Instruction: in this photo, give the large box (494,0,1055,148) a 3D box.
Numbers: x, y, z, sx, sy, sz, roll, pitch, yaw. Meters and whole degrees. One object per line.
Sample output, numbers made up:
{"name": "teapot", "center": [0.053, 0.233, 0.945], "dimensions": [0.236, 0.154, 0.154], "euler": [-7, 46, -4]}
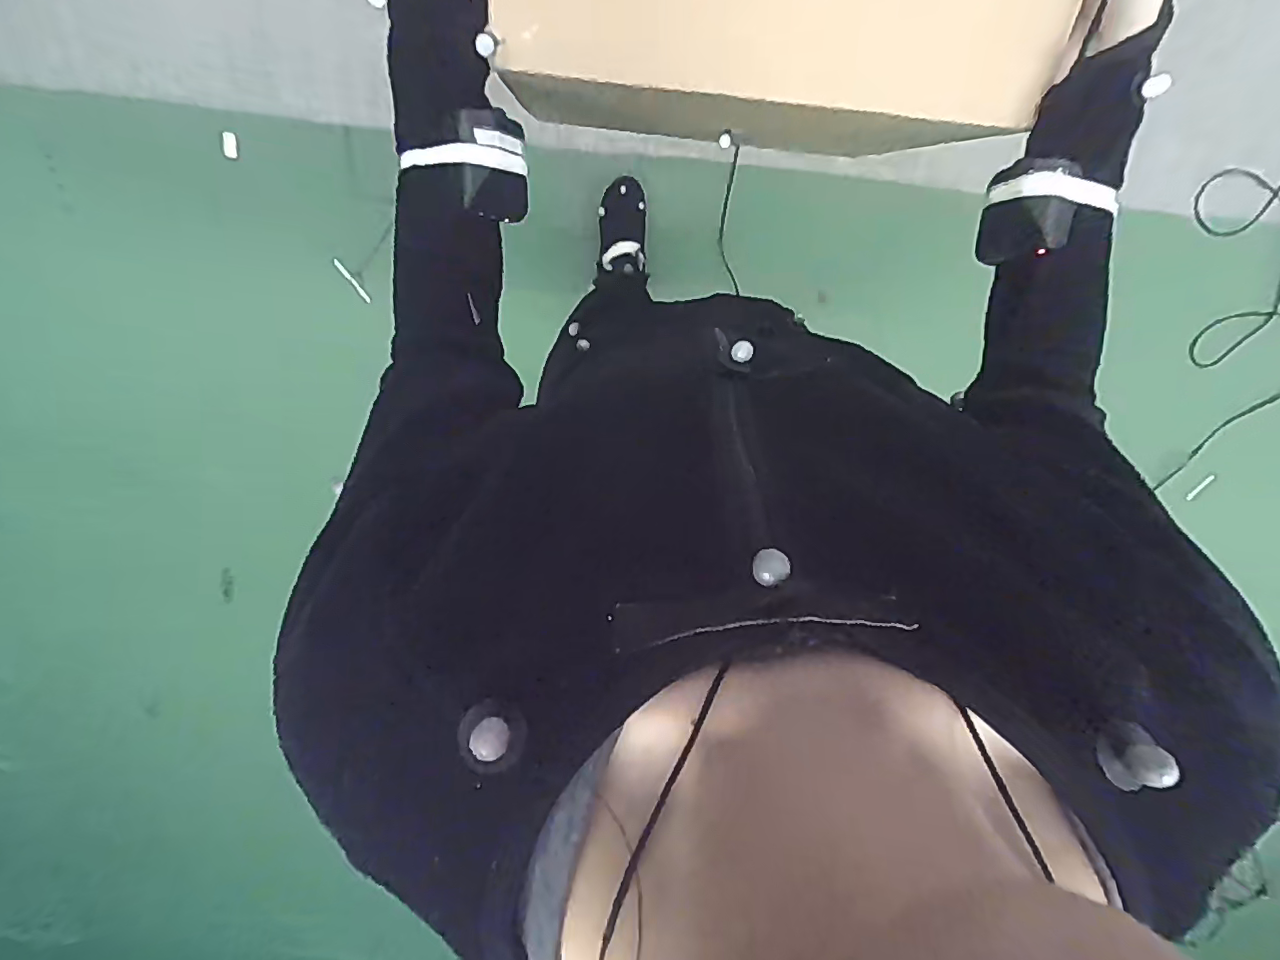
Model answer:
{"name": "large box", "center": [0.099, -0.487, 0.467], "dimensions": [0.408, 0.320, 0.320], "euler": [2, 117, -5]}
